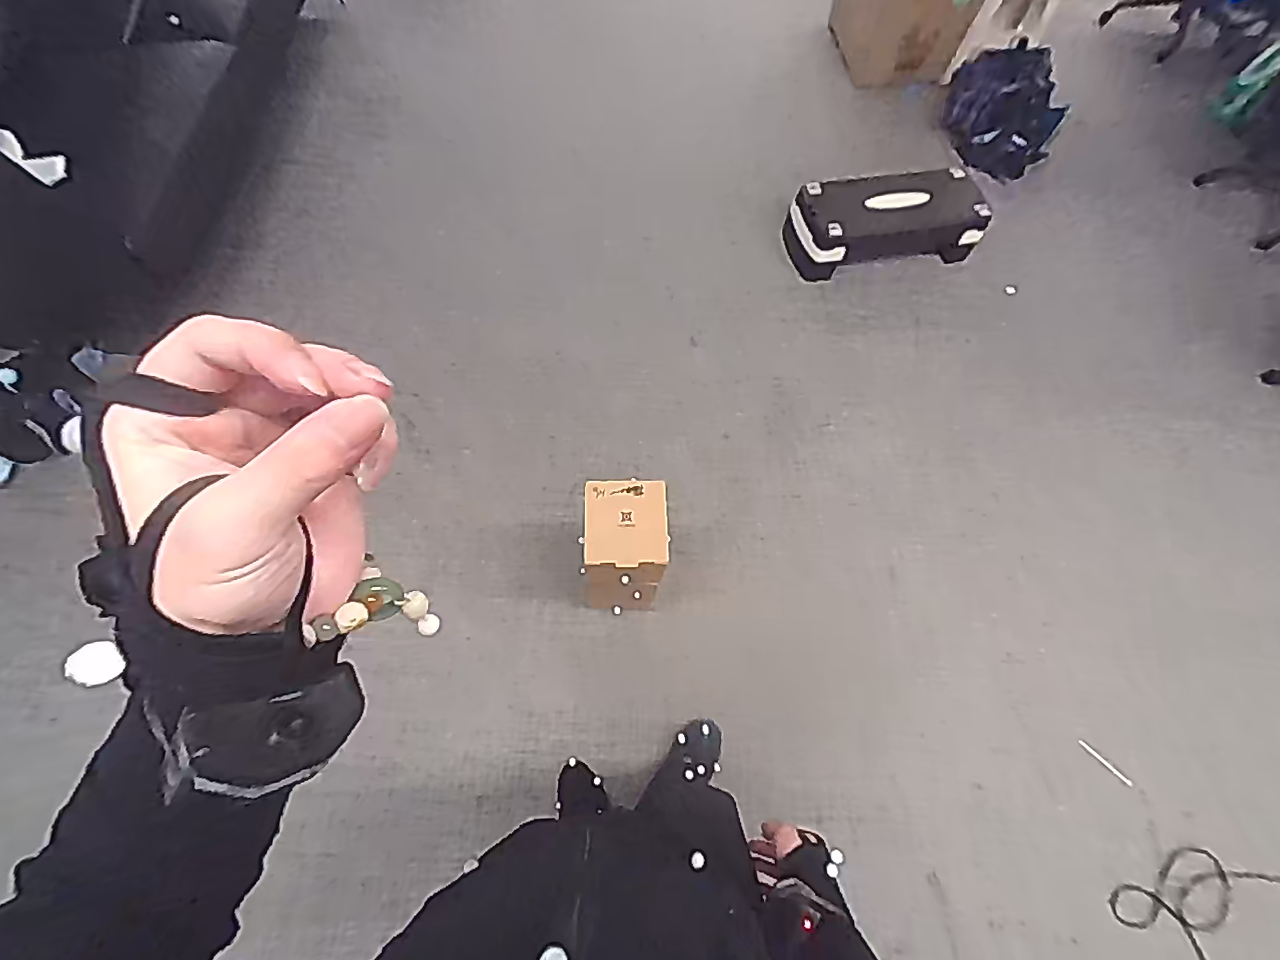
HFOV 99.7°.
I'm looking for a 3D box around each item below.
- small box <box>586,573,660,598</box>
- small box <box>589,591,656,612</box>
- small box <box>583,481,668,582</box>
[{"bbox_3d":[-0.039,0.179,1.280,0.168,0.176,0.179,1,65,-3],"label":"small box"},{"bbox_3d":[-0.045,0.244,1.428,0.168,0.176,0.179,1,66,-1],"label":"small box"},{"bbox_3d":[-0.031,0.114,1.130,0.168,0.176,0.179,-1,67,-3],"label":"small box"}]
